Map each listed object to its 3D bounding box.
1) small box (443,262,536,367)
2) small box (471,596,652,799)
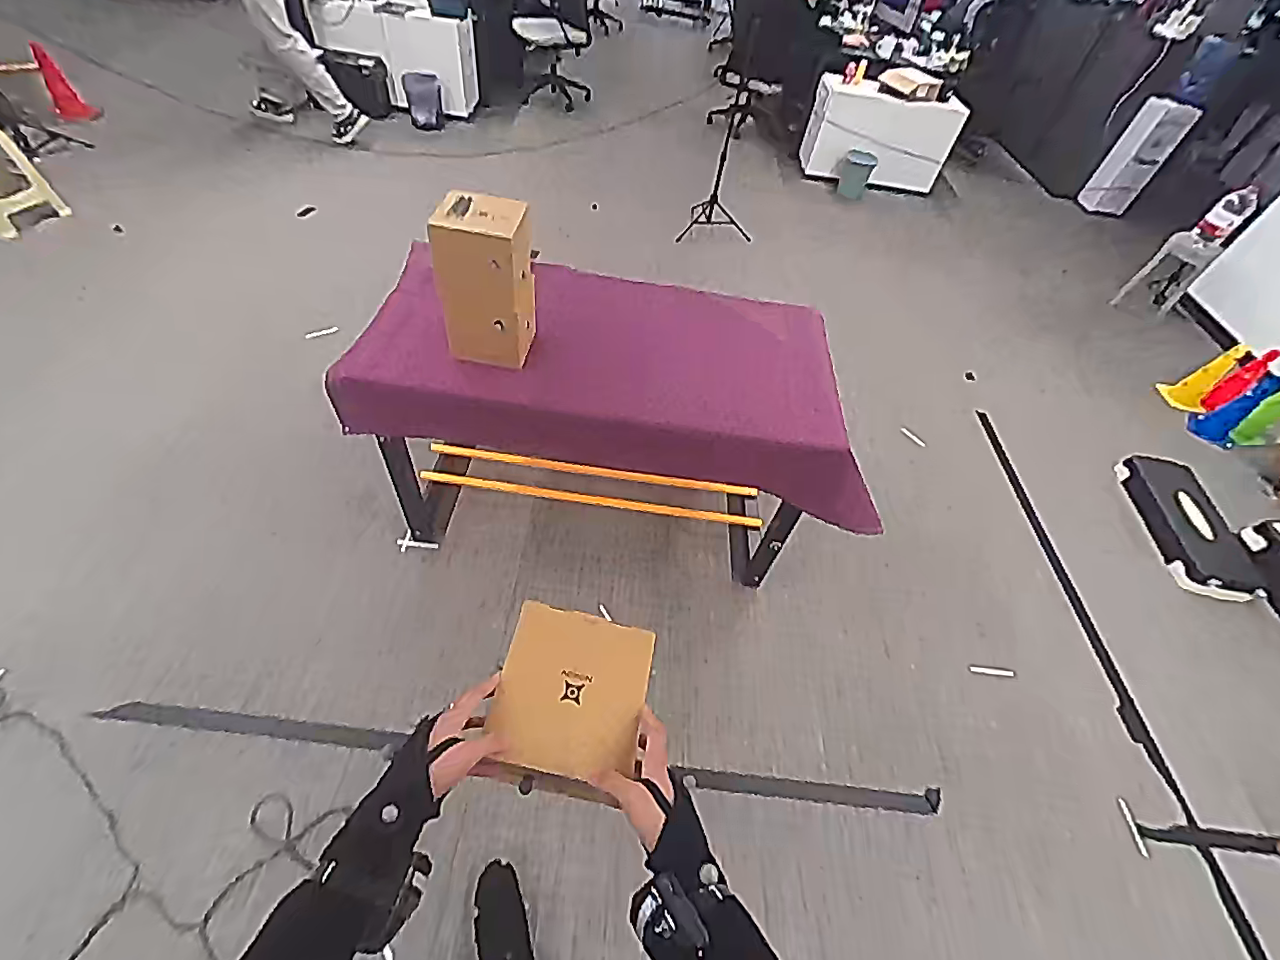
[{"bbox_3d":[-0.356,-0.396,1.314,0.179,0.176,0.168,10,50,-2],"label":"small box"},{"bbox_3d":[-0.094,0.272,0.661,0.168,0.176,0.179,15,52,-4],"label":"small box"}]
